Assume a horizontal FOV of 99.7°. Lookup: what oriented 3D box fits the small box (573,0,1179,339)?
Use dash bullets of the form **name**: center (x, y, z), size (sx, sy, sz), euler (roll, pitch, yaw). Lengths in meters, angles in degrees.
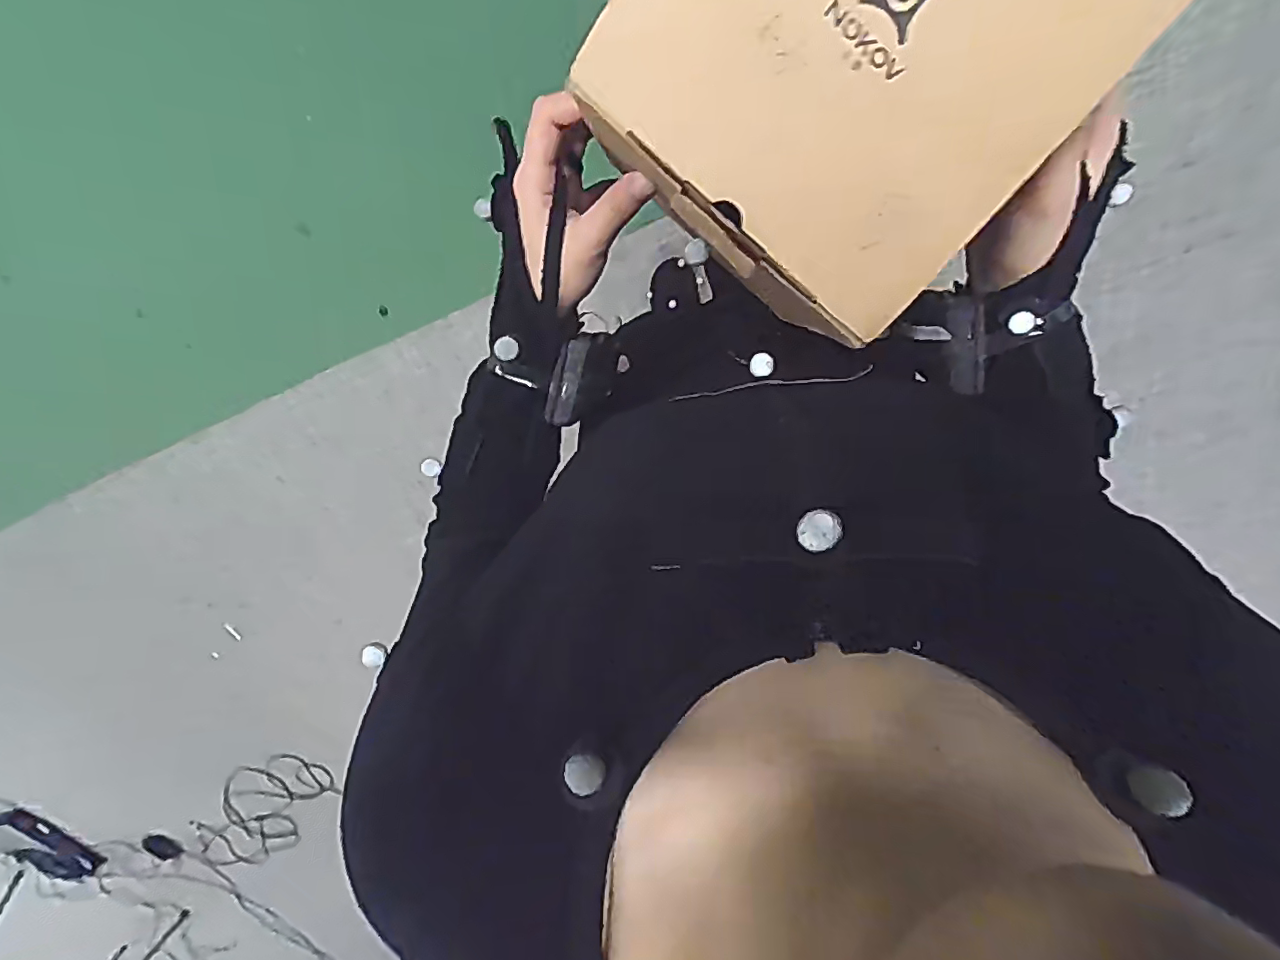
- **small box**: center (0.094, -0.200, 0.280), size (0.168, 0.176, 0.179), euler (37, 109, -10)
